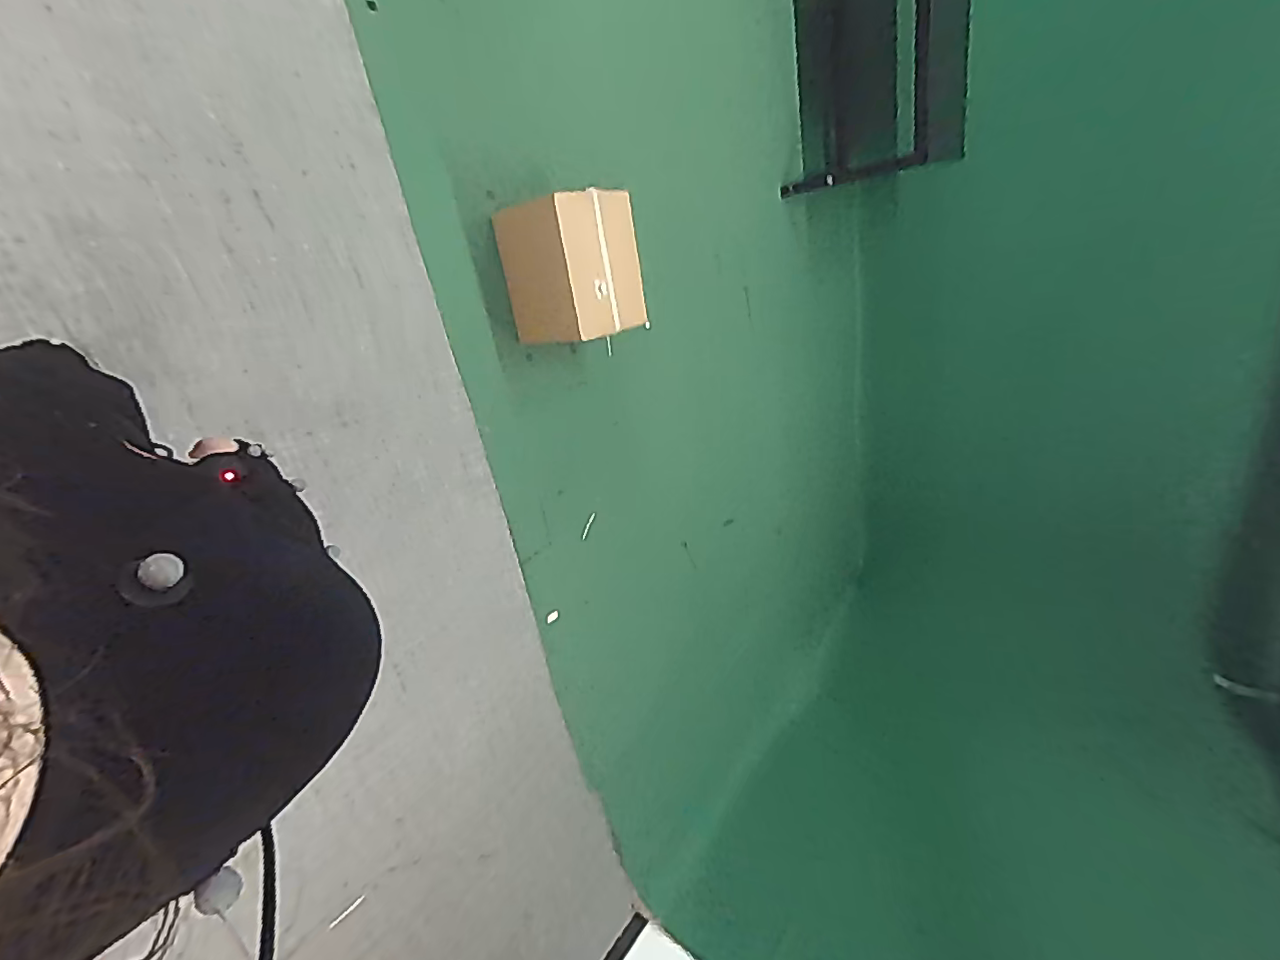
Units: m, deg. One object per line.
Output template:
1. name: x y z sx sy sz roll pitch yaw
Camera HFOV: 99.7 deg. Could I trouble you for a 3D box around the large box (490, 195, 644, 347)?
1. large box: -0.226 -0.659 1.729 0.320 0.320 0.408 -29 119 -42
